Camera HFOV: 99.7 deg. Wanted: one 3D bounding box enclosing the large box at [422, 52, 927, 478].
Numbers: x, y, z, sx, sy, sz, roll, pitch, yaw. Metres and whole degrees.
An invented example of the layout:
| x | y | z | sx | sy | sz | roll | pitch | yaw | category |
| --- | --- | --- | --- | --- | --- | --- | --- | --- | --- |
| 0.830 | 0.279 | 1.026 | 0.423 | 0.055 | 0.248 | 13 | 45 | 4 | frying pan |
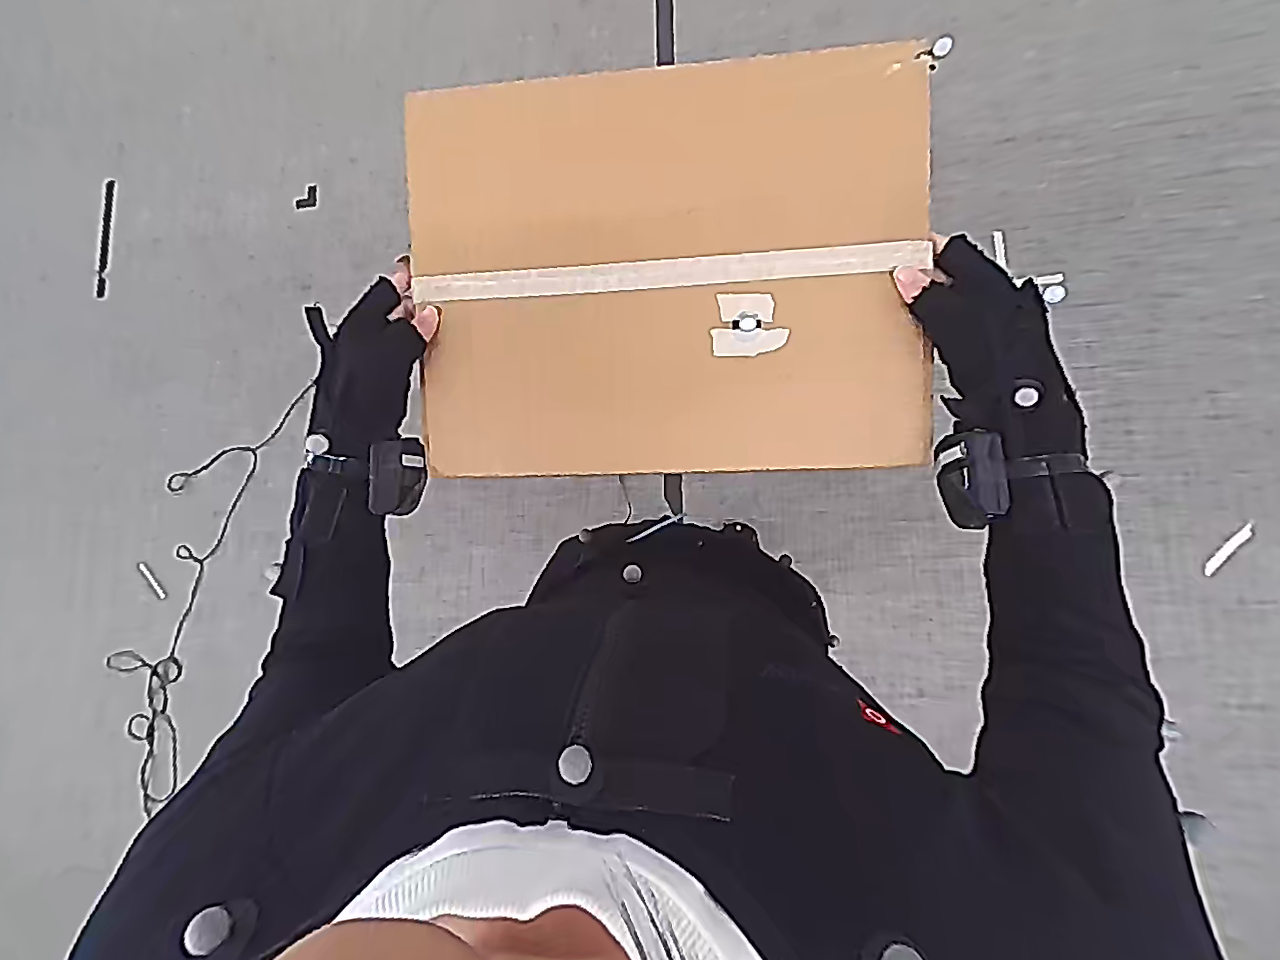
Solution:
| x | y | z | sx | sy | sz | roll | pitch | yaw | category |
| --- | --- | --- | --- | --- | --- | --- | --- | --- | --- |
| 0.035 | -0.173 | 0.586 | 0.408 | 0.320 | 0.320 | -2 | 94 | 6 | large box |
